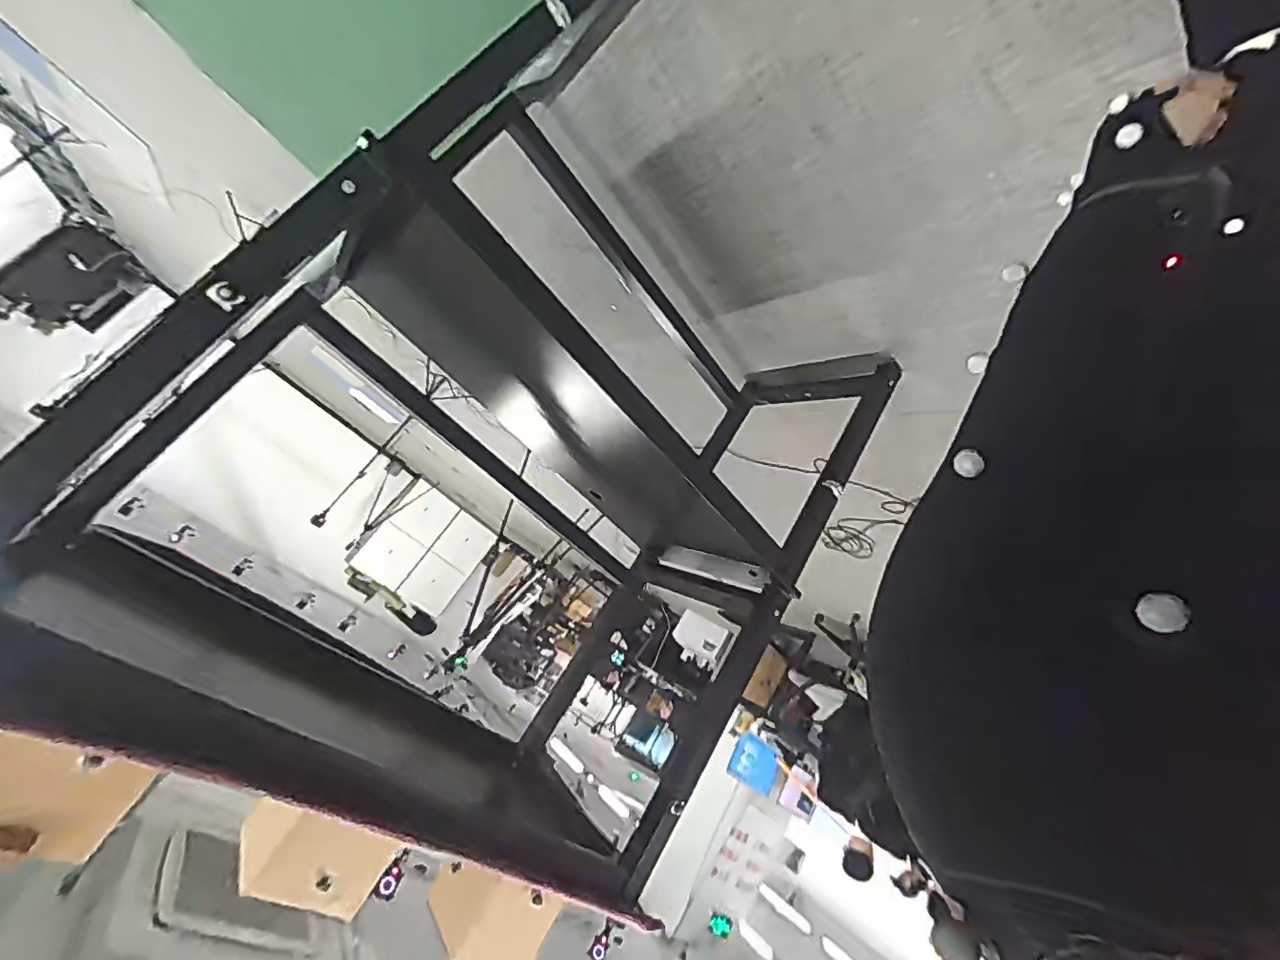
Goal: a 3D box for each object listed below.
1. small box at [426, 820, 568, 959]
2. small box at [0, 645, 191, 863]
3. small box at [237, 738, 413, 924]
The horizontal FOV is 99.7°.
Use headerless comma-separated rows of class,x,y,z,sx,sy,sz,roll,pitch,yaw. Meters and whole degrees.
small box,-0.264,0.774,1.013,0.168,0.176,0.179,42,158,-26
small box,-0.724,0.337,0.695,0.168,0.176,0.179,45,160,-32
small box,-0.503,0.557,0.875,0.179,0.176,0.168,46,159,-29
